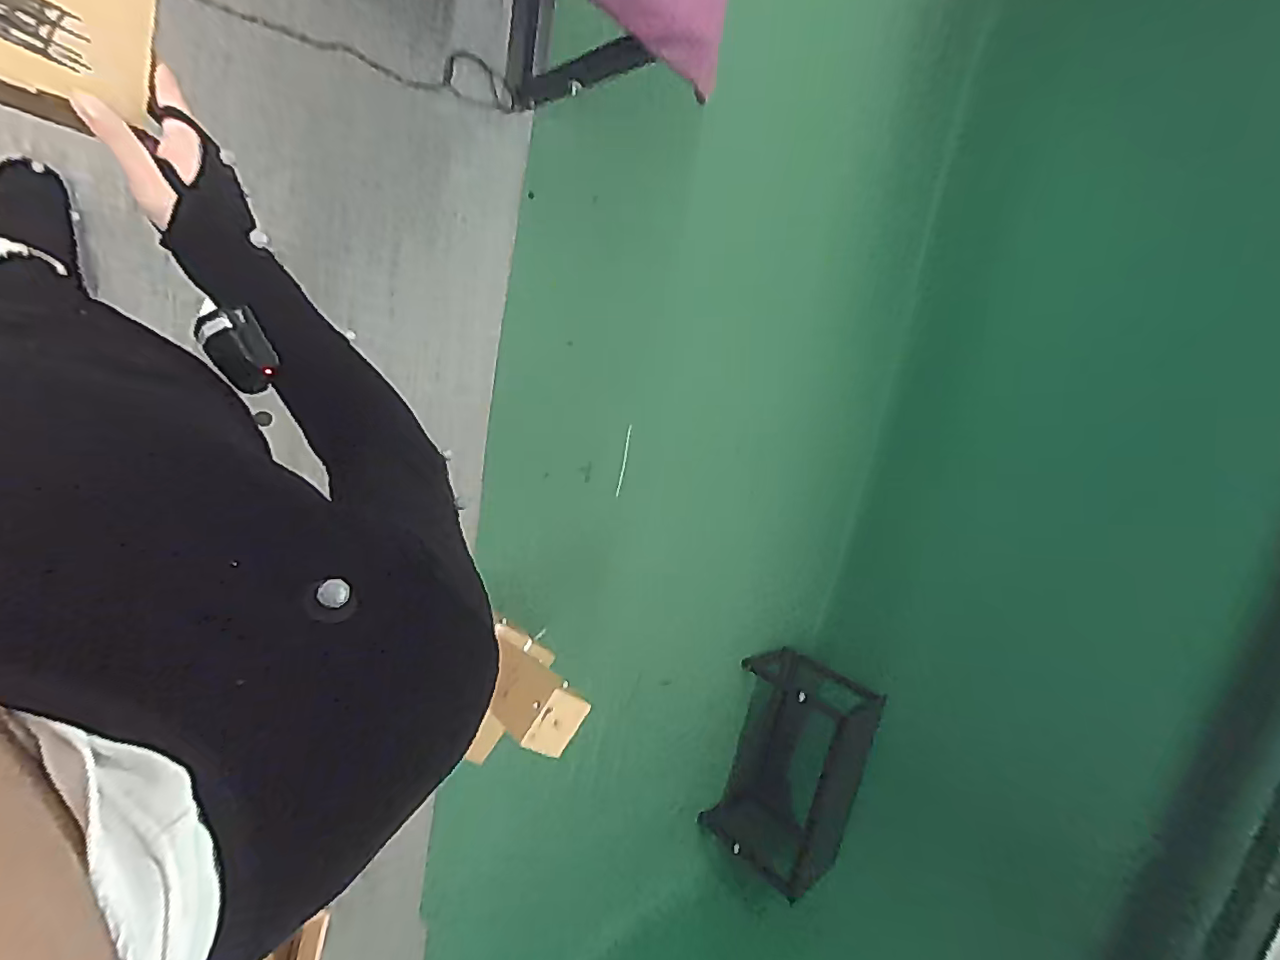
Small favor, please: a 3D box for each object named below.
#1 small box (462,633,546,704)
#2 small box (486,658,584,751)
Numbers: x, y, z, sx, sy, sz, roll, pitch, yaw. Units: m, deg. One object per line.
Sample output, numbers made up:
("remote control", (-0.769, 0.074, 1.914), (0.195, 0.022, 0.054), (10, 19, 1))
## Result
("small box", (-0.410, 0.601, 1.669), (0.168, 0.176, 0.179), (-55, 135, -15))
("small box", (-0.302, 0.638, 1.551), (0.168, 0.176, 0.179), (-55, 136, -15))
